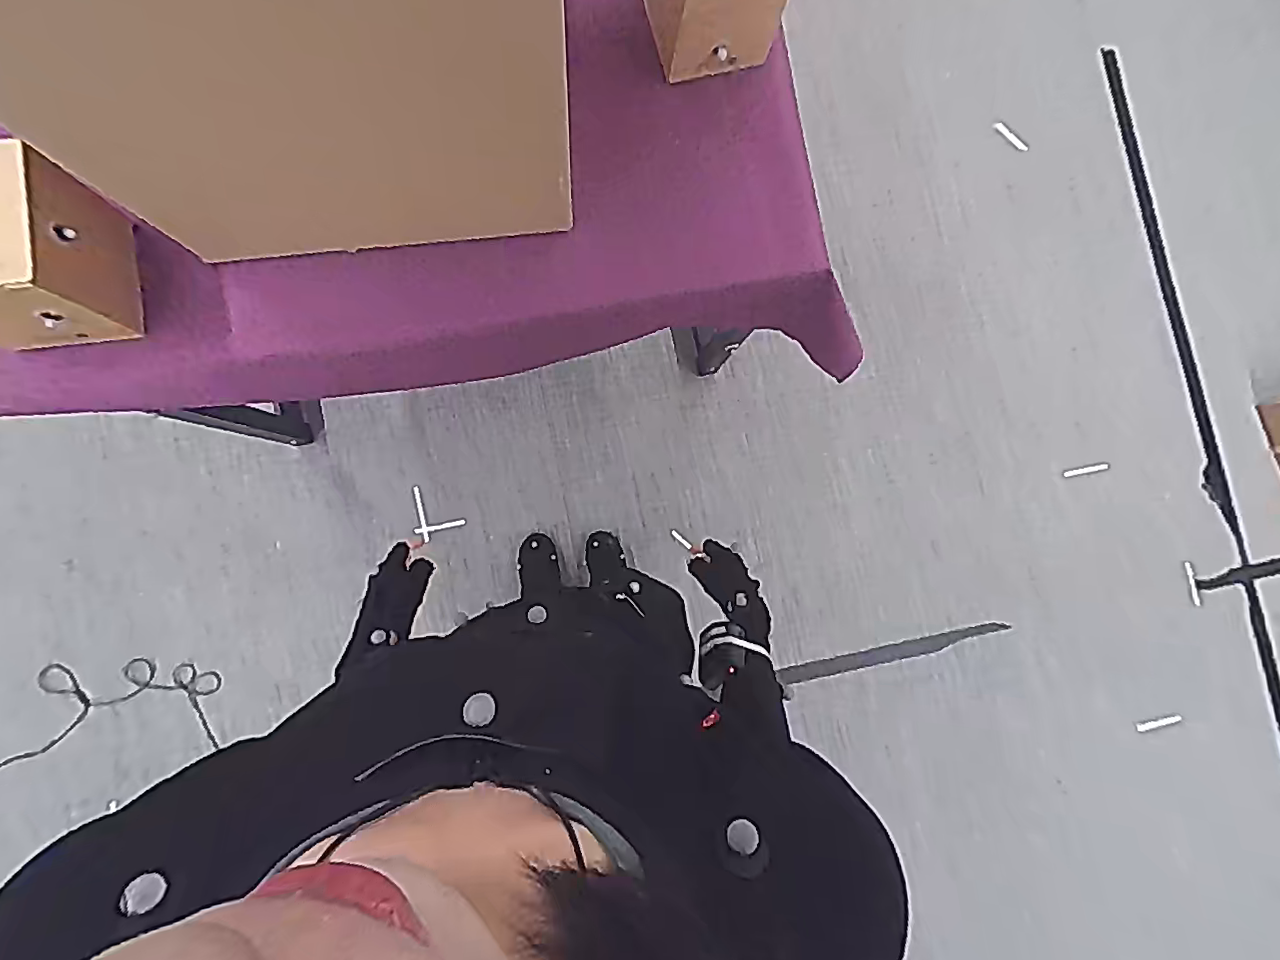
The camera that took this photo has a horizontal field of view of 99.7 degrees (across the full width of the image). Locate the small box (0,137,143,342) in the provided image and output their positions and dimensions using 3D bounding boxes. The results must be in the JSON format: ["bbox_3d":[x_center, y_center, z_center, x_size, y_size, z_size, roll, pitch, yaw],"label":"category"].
[{"bbox_3d":[-0.768,-0.281,0.669,0.168,0.176,0.179,-9,85,-9],"label":"small box"}]
